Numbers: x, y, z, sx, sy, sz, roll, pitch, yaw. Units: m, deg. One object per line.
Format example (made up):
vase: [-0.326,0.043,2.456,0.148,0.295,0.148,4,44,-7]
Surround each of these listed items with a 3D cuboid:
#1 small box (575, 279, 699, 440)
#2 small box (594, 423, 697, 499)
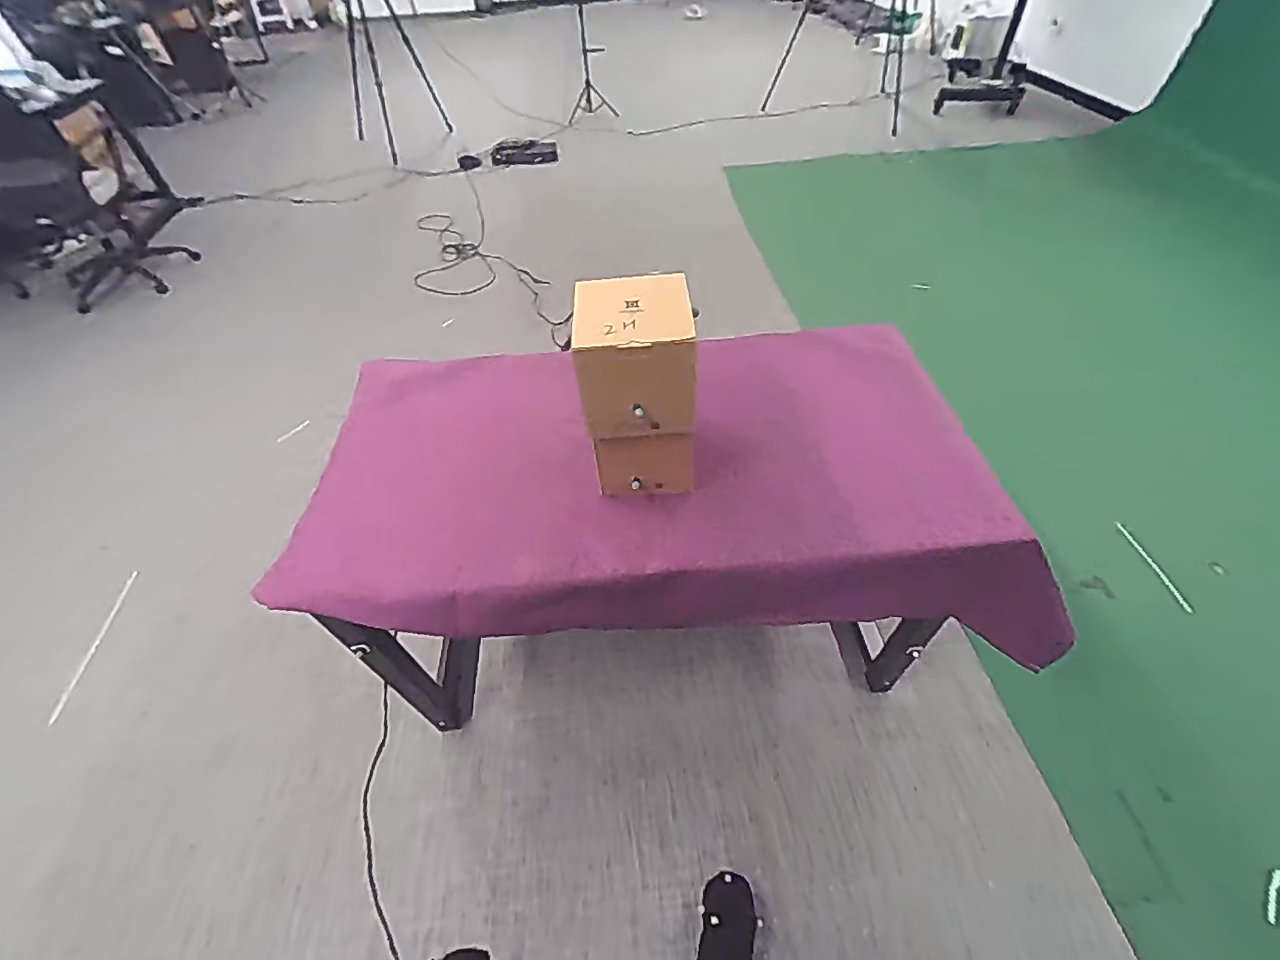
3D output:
small box: [-0.002,-0.182,0.823,0.168,0.176,0.179,-4,49,2]
small box: [0.011,-0.086,0.956,0.168,0.176,0.179,-3,49,2]
